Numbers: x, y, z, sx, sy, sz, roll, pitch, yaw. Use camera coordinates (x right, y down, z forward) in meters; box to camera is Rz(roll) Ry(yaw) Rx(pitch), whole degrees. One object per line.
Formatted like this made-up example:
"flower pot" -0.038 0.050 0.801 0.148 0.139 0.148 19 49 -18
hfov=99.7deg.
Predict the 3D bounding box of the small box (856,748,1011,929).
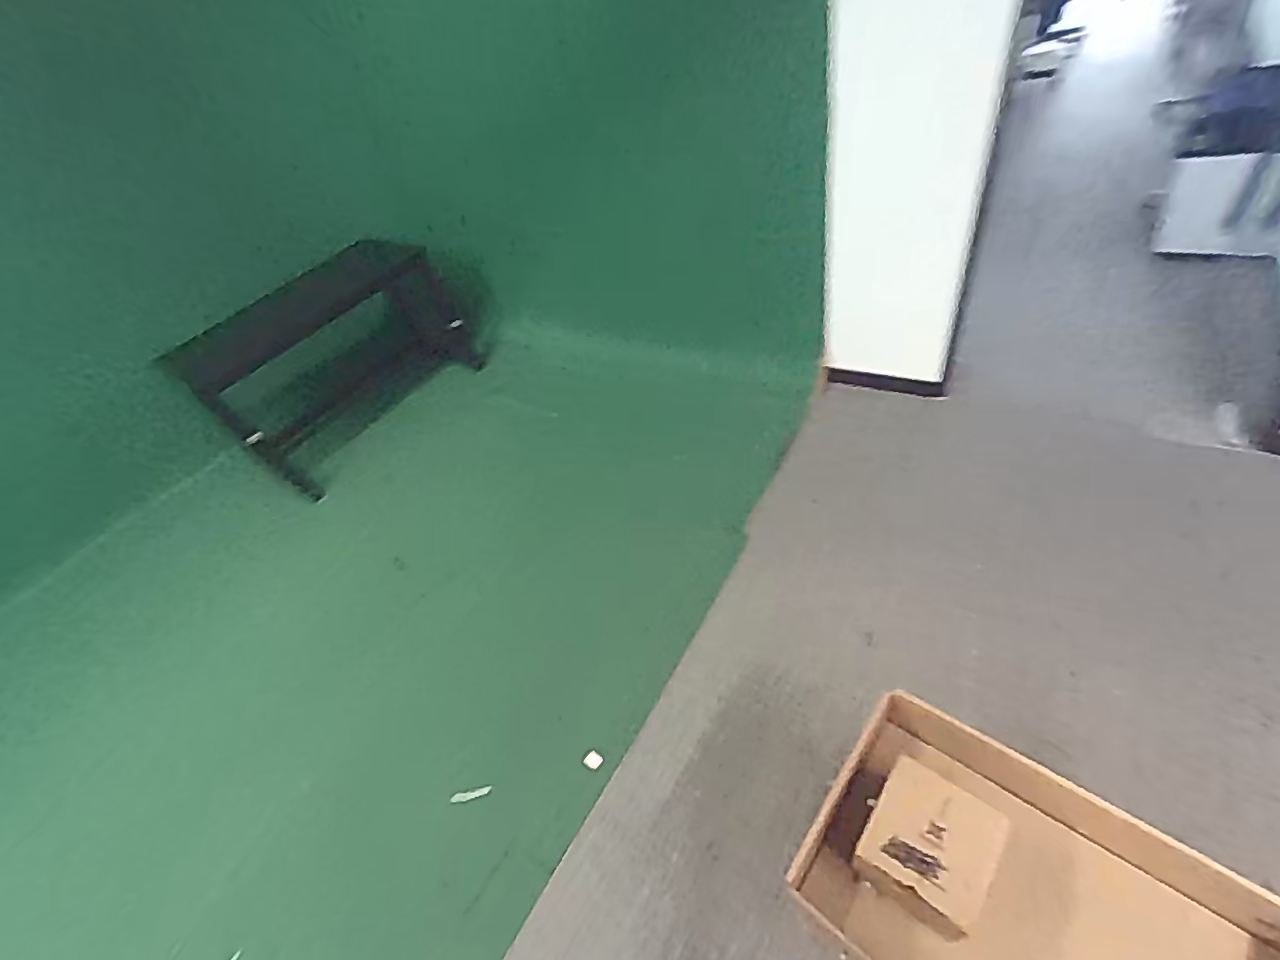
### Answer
"small box" 0.470 0.588 0.885 0.168 0.176 0.179 24 60 35
